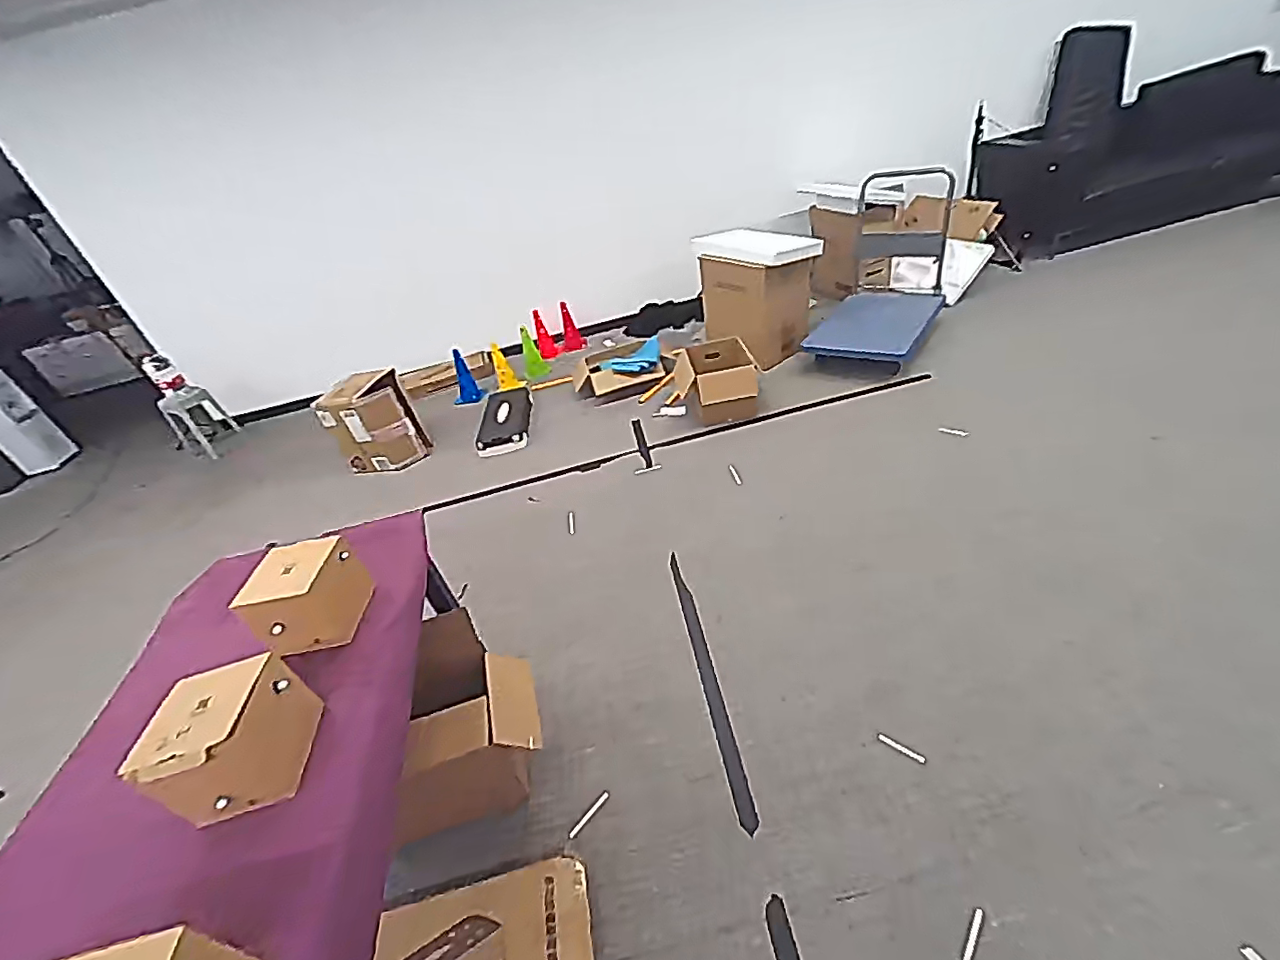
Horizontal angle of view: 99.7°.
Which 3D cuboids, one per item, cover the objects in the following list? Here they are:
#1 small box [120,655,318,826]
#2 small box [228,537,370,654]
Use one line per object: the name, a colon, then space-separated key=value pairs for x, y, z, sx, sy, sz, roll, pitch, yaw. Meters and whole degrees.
small box: x=-0.676 y=0.431 z=0.900 sx=0.168 sy=0.176 sz=0.179 roll=-18 pitch=35 yaw=-1
small box: x=-0.714 y=0.254 z=1.162 sx=0.168 sy=0.176 sz=0.179 roll=-12 pitch=35 yaw=3
